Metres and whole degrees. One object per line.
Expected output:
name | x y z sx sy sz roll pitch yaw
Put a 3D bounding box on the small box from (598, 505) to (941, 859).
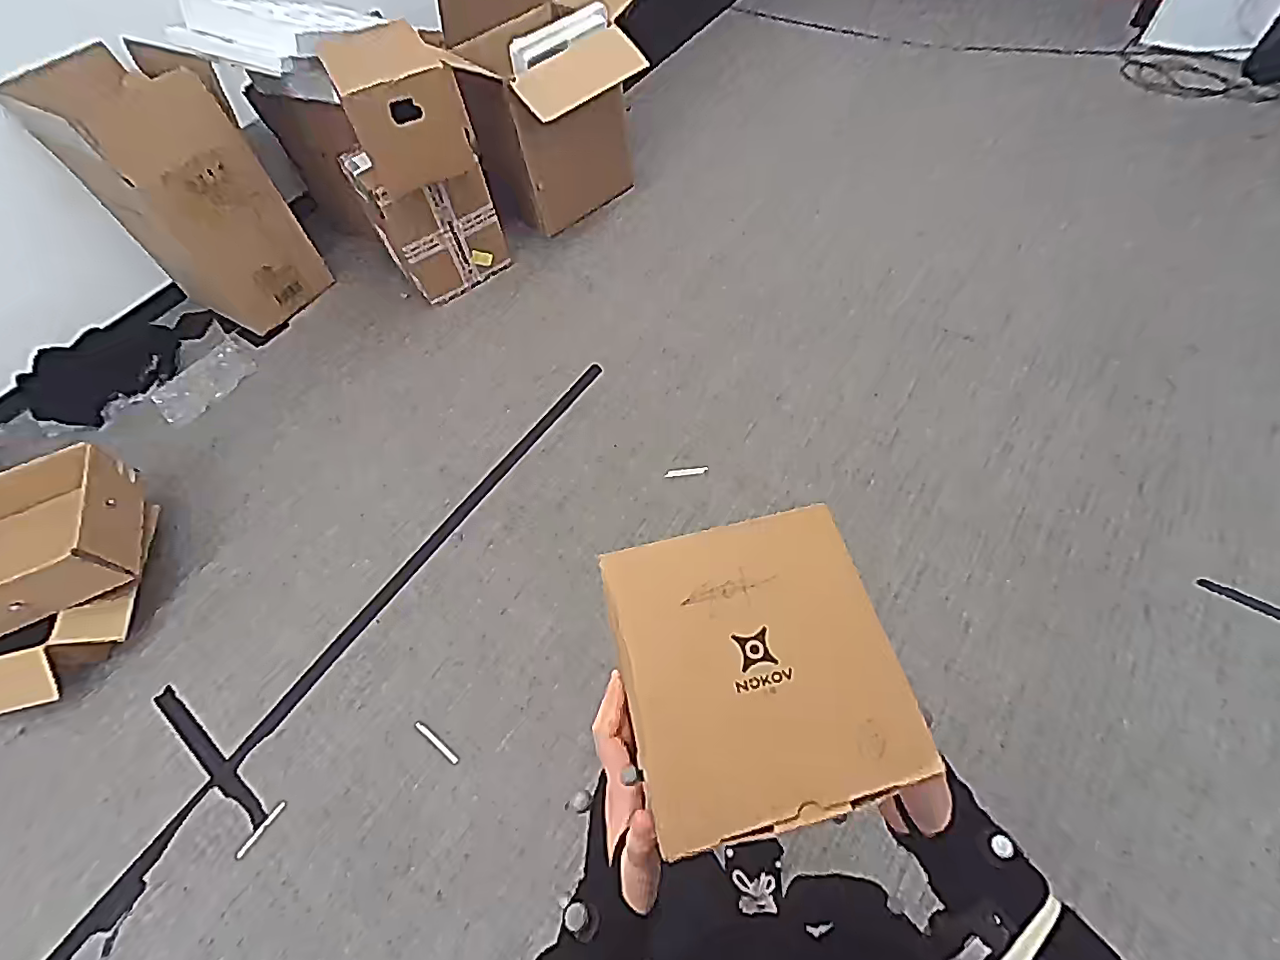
small box | 0.070 0.145 0.399 0.168 0.176 0.179 -12 61 -8
